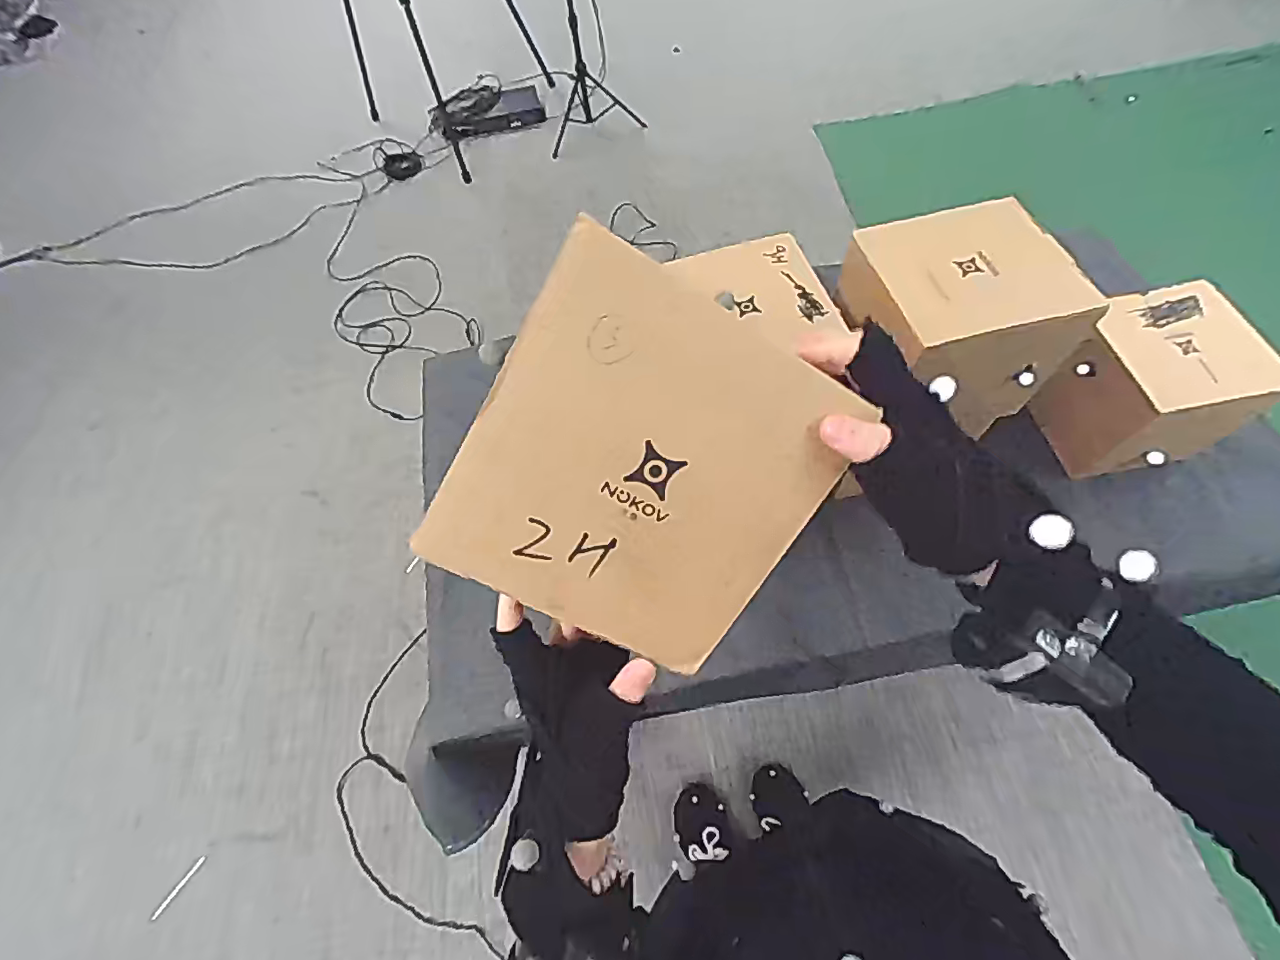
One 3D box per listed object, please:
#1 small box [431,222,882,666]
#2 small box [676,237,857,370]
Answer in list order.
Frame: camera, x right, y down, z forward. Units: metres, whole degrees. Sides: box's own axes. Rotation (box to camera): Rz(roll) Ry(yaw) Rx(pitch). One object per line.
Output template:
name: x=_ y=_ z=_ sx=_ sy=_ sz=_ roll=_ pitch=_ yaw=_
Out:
small box: x=0.000 y=-0.029 z=0.337 sx=0.168 sy=0.176 sz=0.179 roll=27 pitch=106 yaw=-14
small box: x=0.104 y=-0.124 z=0.594 sx=0.179 sy=0.176 sz=0.168 roll=-16 pitch=63 yaw=-2
